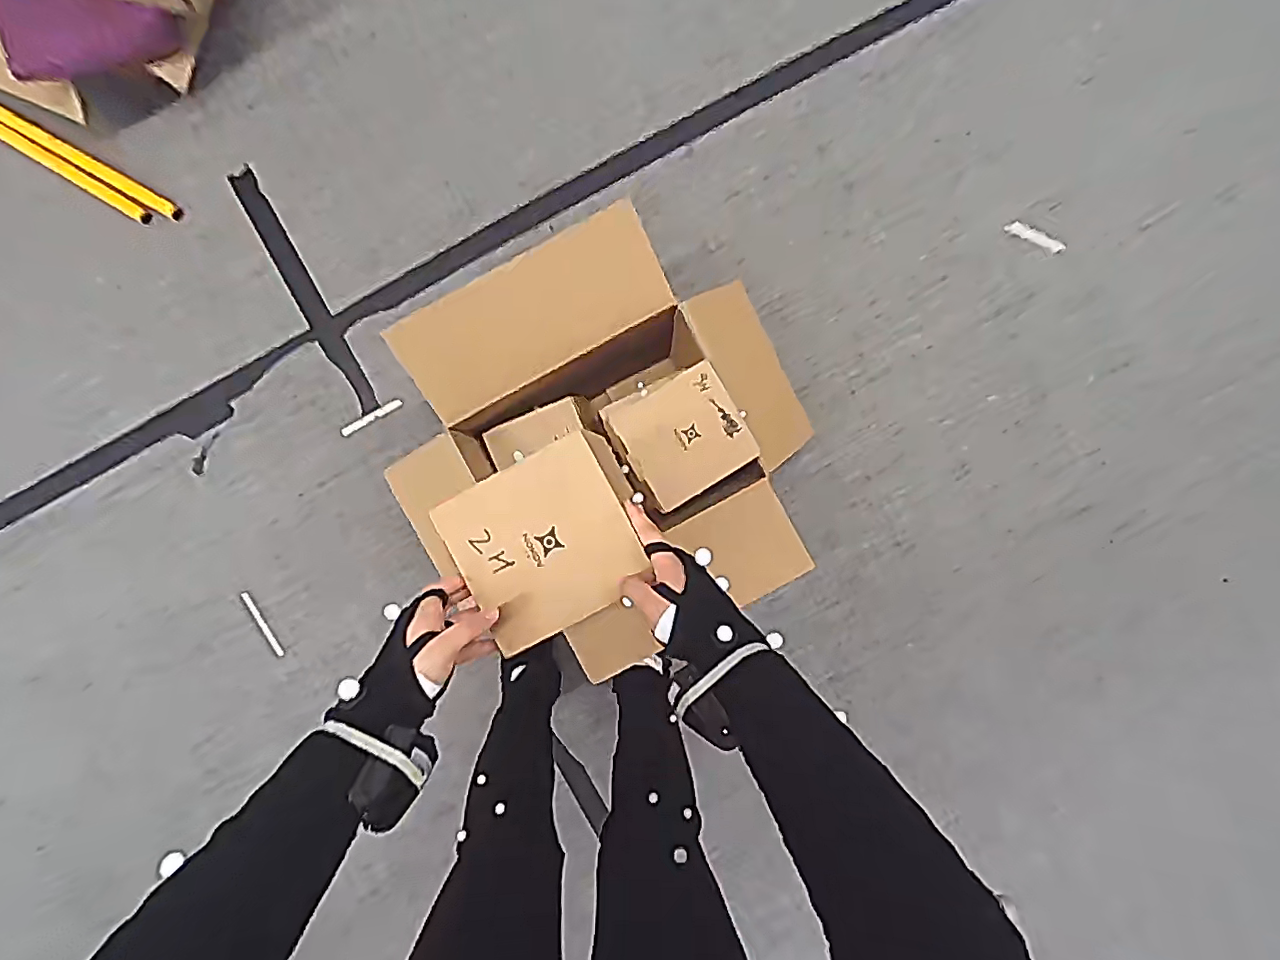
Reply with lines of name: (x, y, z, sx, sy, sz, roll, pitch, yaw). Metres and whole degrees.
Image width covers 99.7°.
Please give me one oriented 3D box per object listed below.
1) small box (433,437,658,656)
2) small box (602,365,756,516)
small box: (-0.091, 0.064, 0.614, 0.179, 0.176, 0.168, -28, 89, 4)
small box: (0.054, -0.059, 0.871, 0.179, 0.176, 0.168, -31, 94, -3)
